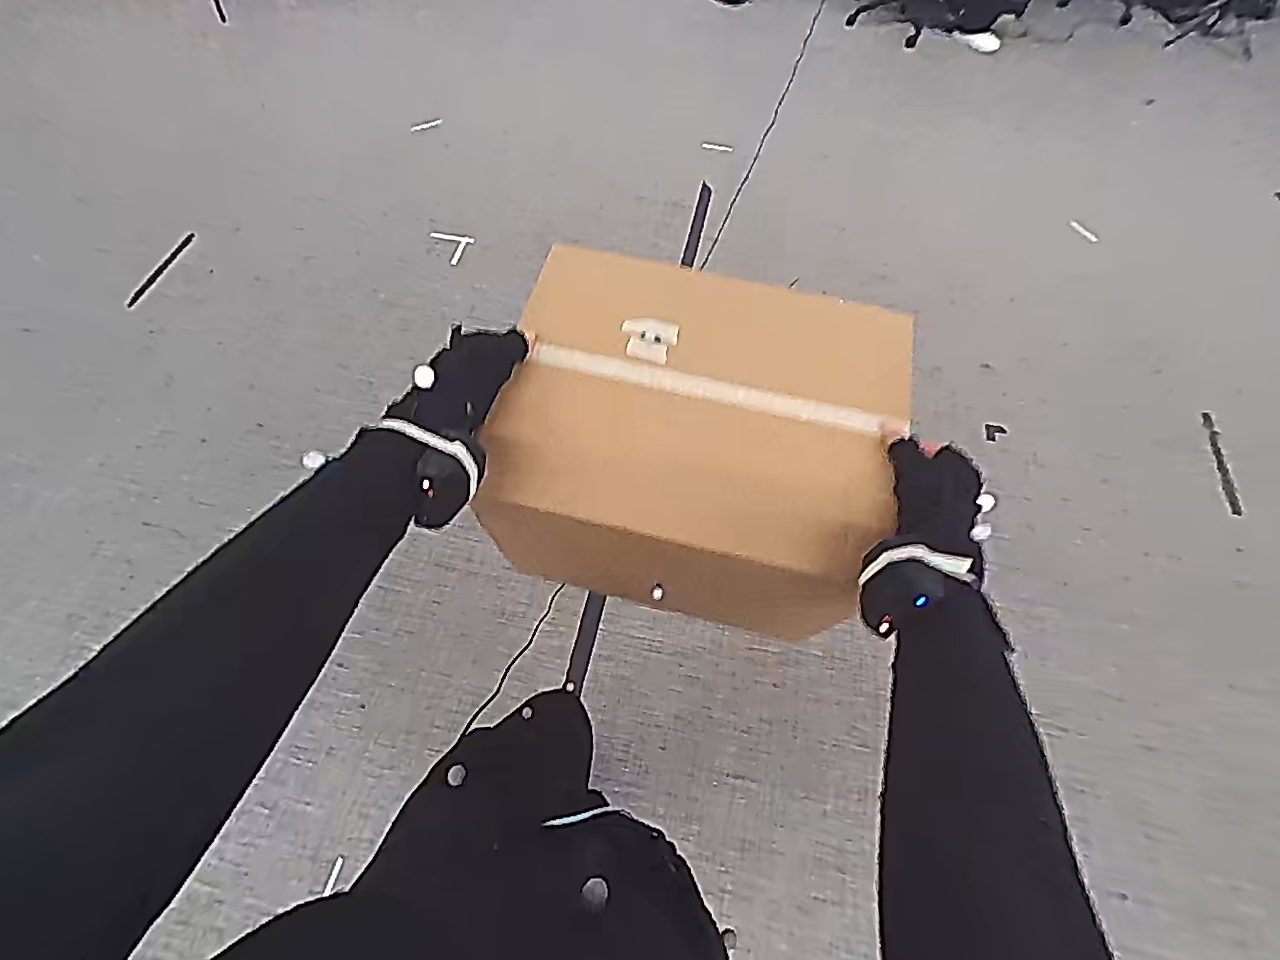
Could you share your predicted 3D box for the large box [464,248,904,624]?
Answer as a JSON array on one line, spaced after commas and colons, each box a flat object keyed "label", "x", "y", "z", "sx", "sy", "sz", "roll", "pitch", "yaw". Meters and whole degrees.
[{"label": "large box", "x": 0.062, "y": -0.033, "z": 0.682, "sx": 0.408, "sy": 0.320, "sz": 0.320, "roll": 13, "pitch": 66, "yaw": 6}]
